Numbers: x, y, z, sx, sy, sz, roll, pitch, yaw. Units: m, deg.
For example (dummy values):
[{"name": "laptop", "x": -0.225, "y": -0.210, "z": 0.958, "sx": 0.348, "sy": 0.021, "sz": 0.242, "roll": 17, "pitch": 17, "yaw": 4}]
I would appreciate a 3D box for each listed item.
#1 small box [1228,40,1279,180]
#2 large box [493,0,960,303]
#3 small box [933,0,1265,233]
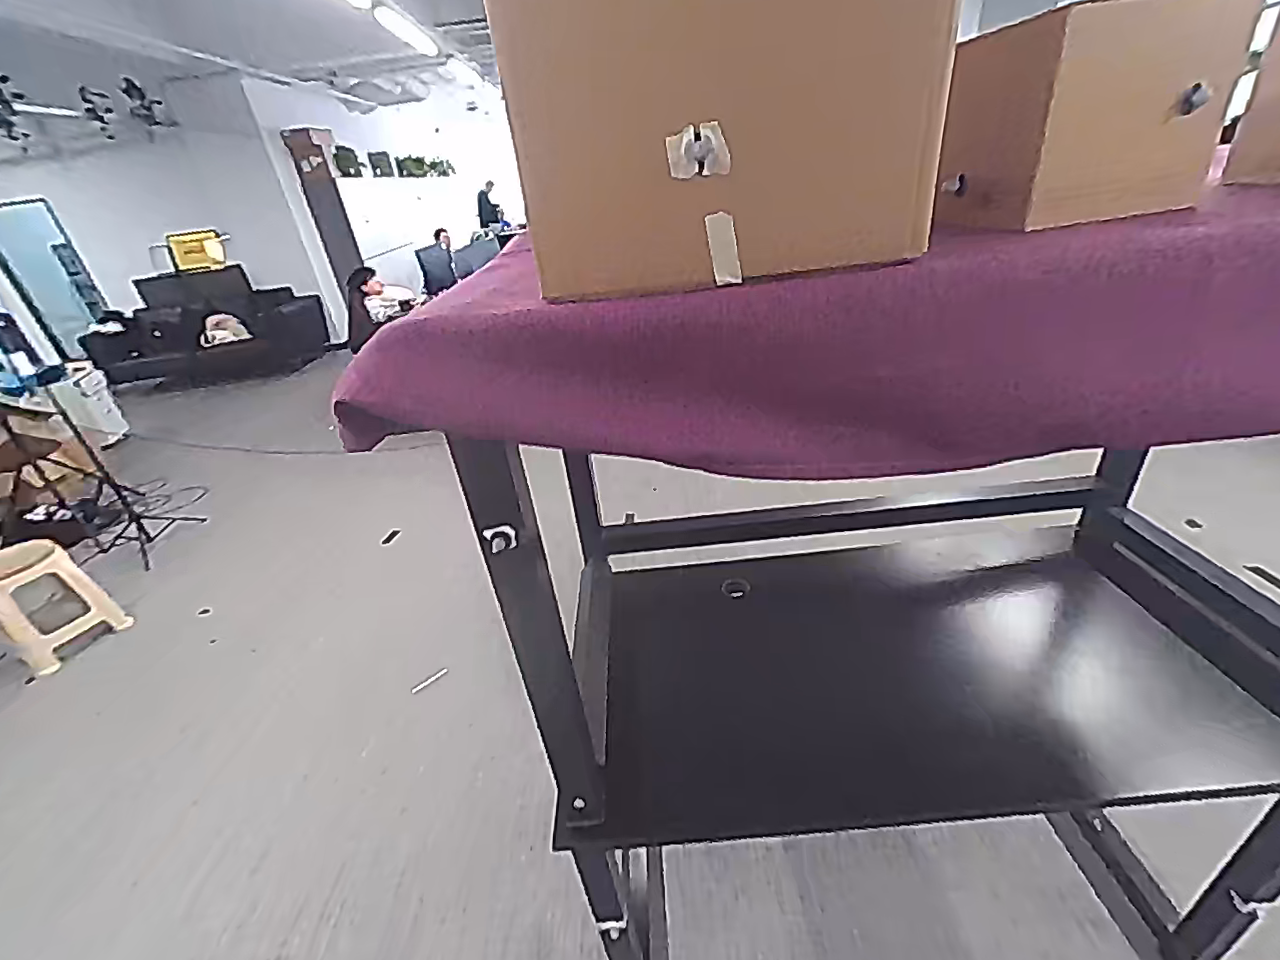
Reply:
[{"name": "small box", "x": 0.735, "y": -0.382, "z": 0.504, "sx": 0.179, "sy": 0.176, "sz": 0.168, "roll": -6, "pitch": 28, "yaw": 2}, {"name": "large box", "x": 0.058, "y": -0.380, "z": 0.529, "sx": 0.320, "sy": 0.320, "sz": 0.408, "roll": -5, "pitch": 28, "yaw": 3}, {"name": "small box", "x": 0.414, "y": -0.351, "z": 0.531, "sx": 0.179, "sy": 0.176, "sz": 0.168, "roll": -10, "pitch": 29, "yaw": -3}]
